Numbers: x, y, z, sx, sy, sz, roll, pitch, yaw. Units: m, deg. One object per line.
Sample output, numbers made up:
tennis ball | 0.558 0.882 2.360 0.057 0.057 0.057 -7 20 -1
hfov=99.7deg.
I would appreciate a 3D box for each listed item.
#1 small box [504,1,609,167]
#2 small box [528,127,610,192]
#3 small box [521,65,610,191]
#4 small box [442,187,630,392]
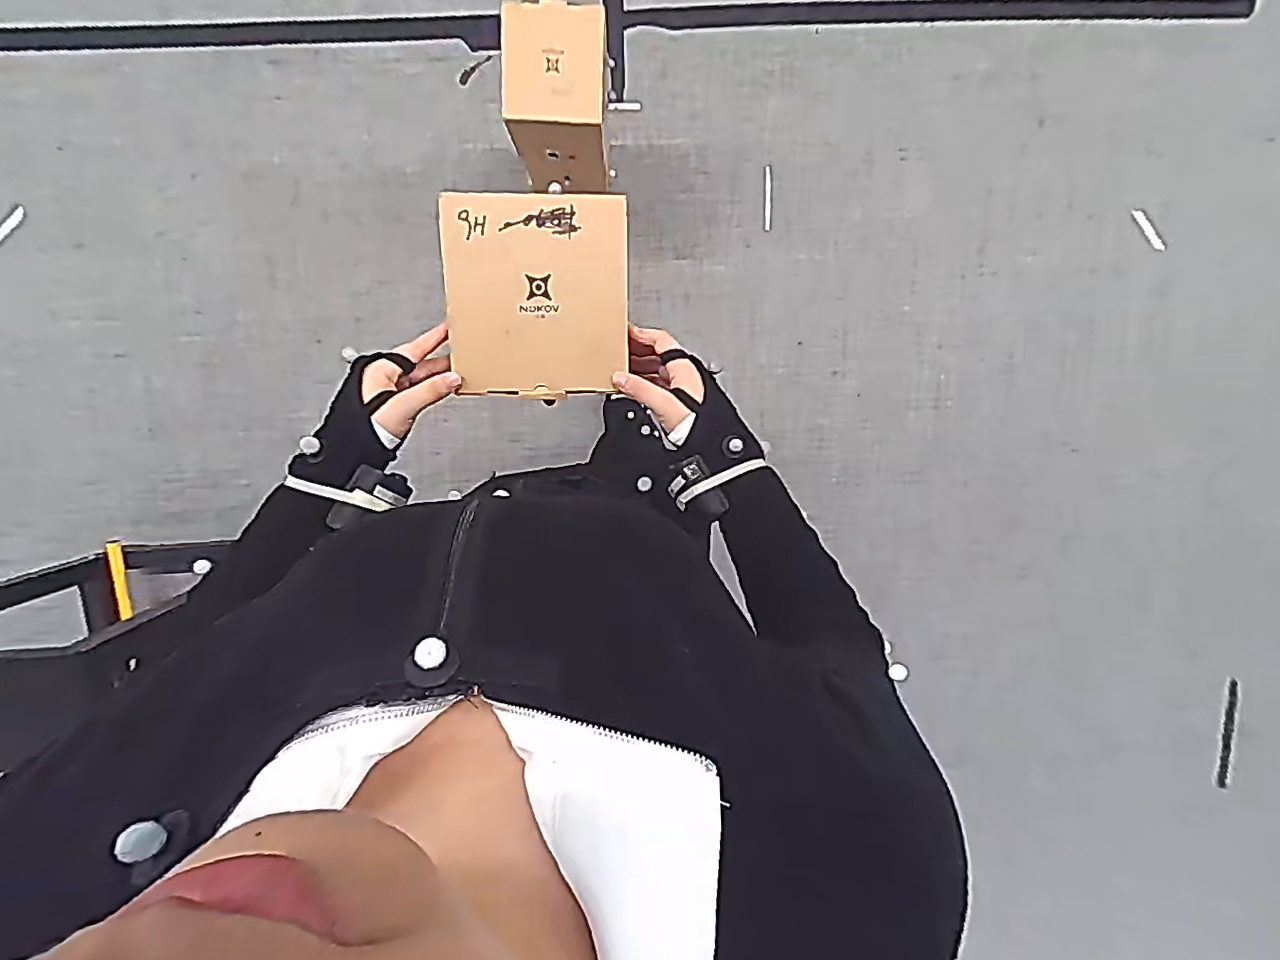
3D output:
small box | -0.140 -0.681 0.947 0.168 0.176 0.179 1 100 -2
small box | -0.161 -0.741 1.268 0.179 0.176 0.168 1 99 -3
small box | -0.148 -0.720 1.105 0.168 0.176 0.179 1 99 -2
small box | -0.096 -0.188 0.568 0.168 0.176 0.179 -1 103 -4
